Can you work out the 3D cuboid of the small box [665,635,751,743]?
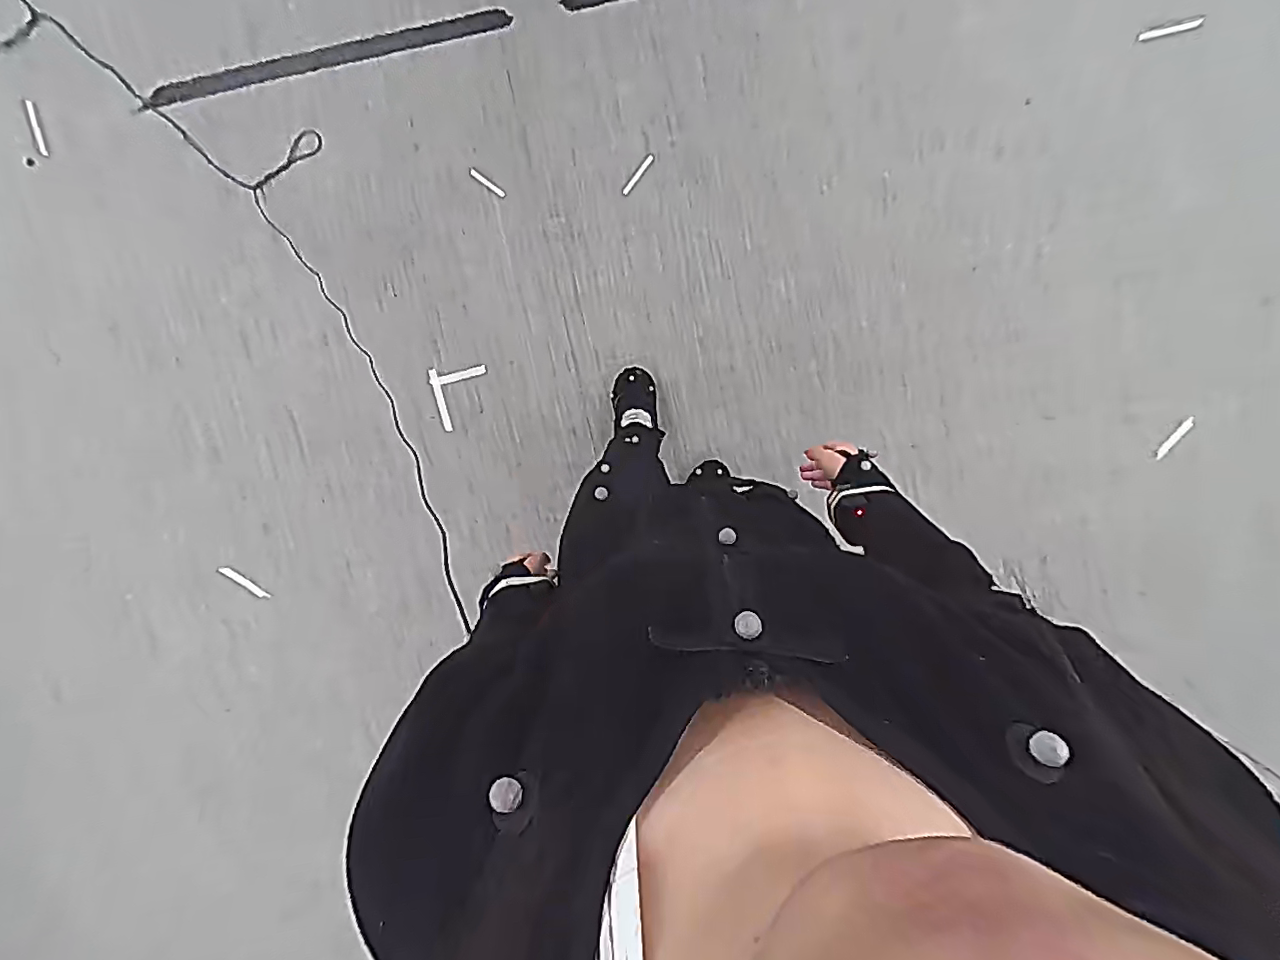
[{"bbox_3d":[0.158,0.491,1.303,0.168,0.176,0.179,-14,96,4],"label":"small box"}]
